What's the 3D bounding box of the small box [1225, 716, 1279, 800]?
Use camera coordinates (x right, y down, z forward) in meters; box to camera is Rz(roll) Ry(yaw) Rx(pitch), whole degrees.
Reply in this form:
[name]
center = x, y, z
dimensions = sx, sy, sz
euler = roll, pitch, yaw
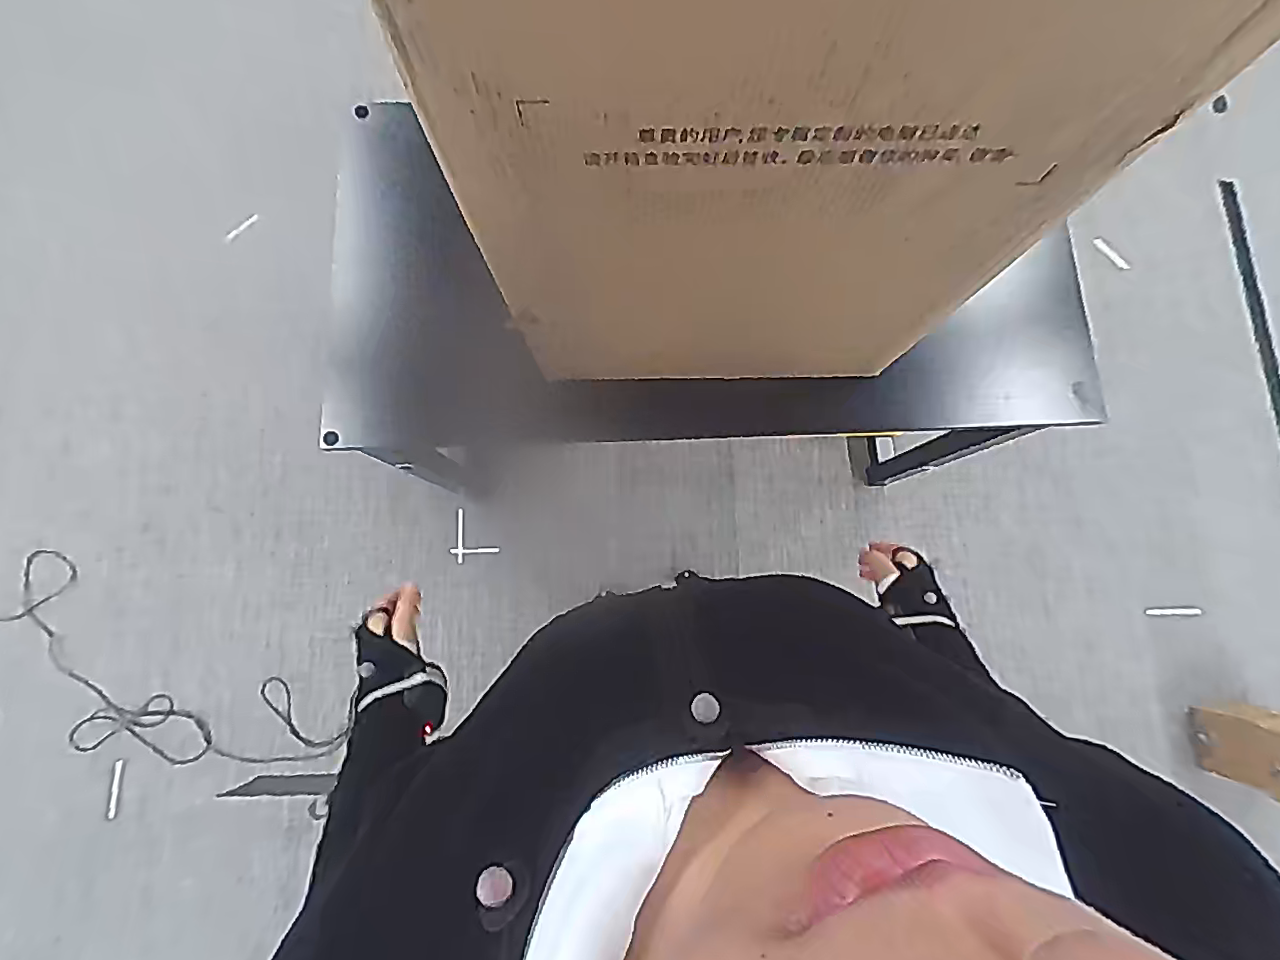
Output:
[small box]
center = 1.595, 0.678, 1.303
dimensions = 0.179, 0.176, 0.168
euler = -3, 80, 0
